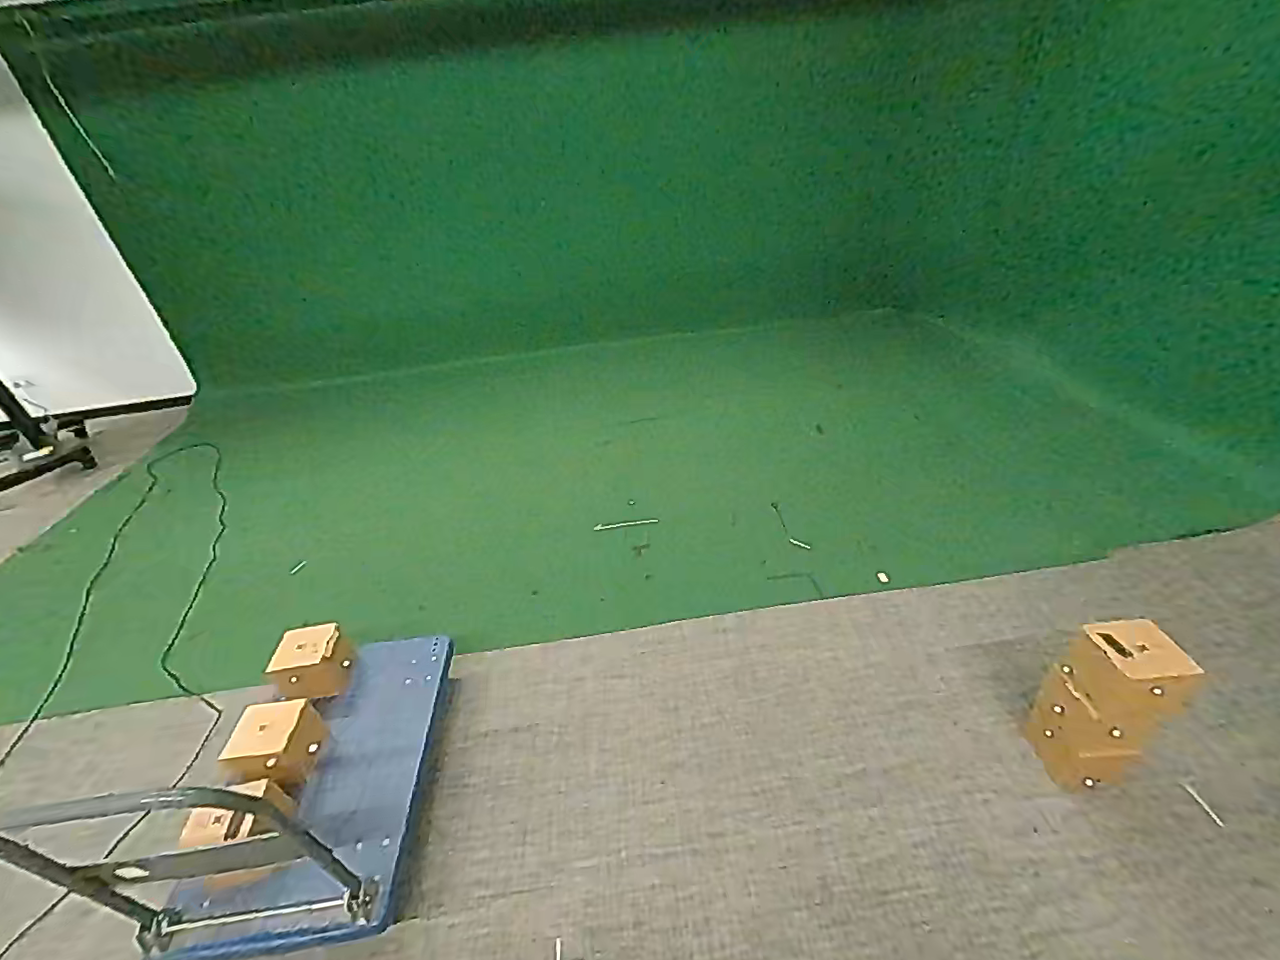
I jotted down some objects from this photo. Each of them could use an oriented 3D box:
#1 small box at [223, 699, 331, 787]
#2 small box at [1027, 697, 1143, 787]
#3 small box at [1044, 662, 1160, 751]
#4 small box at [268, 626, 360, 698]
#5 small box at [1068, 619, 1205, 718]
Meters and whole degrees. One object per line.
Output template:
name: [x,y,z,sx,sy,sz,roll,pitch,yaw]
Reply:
small box: [-1.050,0.771,1.581,0.179,0.176,0.168,-7,34,-2]
small box: [1.248,0.739,1.536,0.168,0.176,0.179,-6,35,3]
small box: [1.226,0.603,1.448,0.179,0.176,0.168,-7,34,3]
small box: [-1.080,0.611,1.805,0.179,0.176,0.168,-4,38,3]
small box: [1.217,0.472,1.348,0.179,0.176,0.168,-6,34,2]
